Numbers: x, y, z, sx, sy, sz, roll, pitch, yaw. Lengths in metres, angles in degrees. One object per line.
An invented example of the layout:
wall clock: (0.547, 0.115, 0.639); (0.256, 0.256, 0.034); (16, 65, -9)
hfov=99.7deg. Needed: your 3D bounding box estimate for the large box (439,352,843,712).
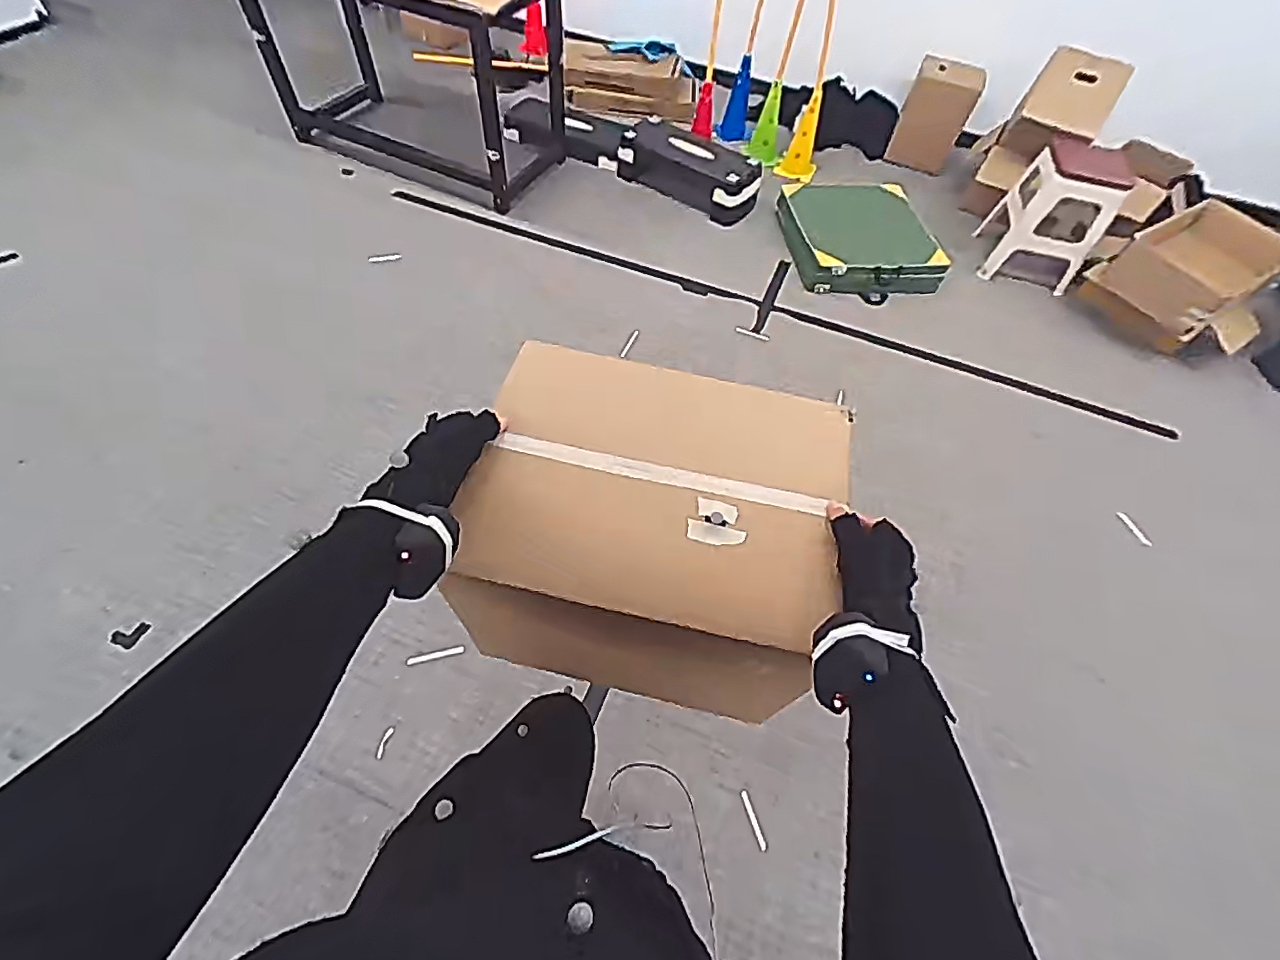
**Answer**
large box: (0.013, 0.080, 0.720); (0.408, 0.320, 0.320); (13, 58, 3)
